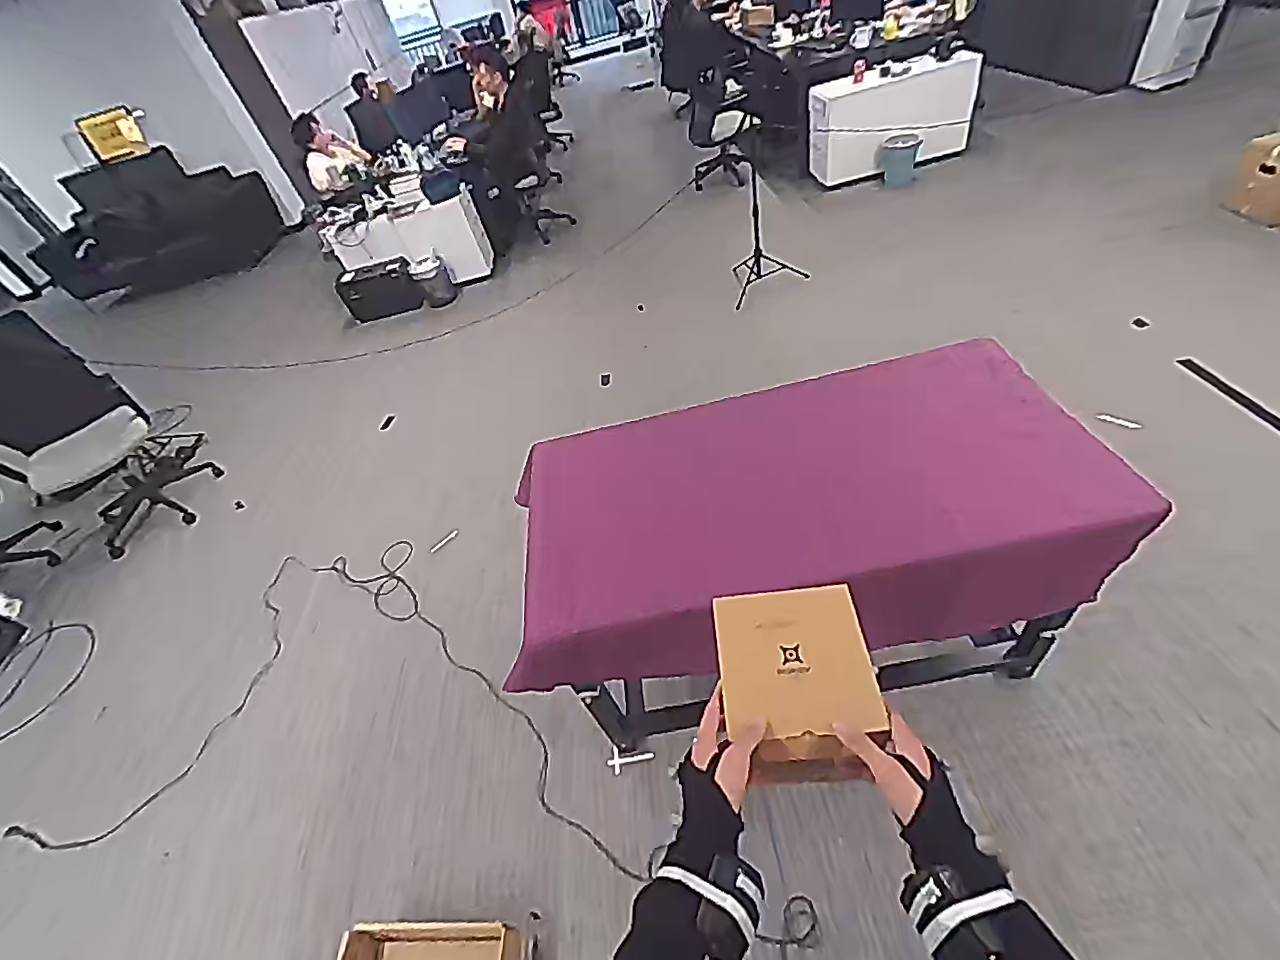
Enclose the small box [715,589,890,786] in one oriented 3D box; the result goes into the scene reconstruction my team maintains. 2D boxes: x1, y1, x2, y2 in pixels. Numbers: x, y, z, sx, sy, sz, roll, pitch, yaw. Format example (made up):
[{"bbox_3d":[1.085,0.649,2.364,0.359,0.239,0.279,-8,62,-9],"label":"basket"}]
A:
[{"bbox_3d":[0.188,0.259,0.660,0.168,0.176,0.179,-8,45,8],"label":"small box"}]
